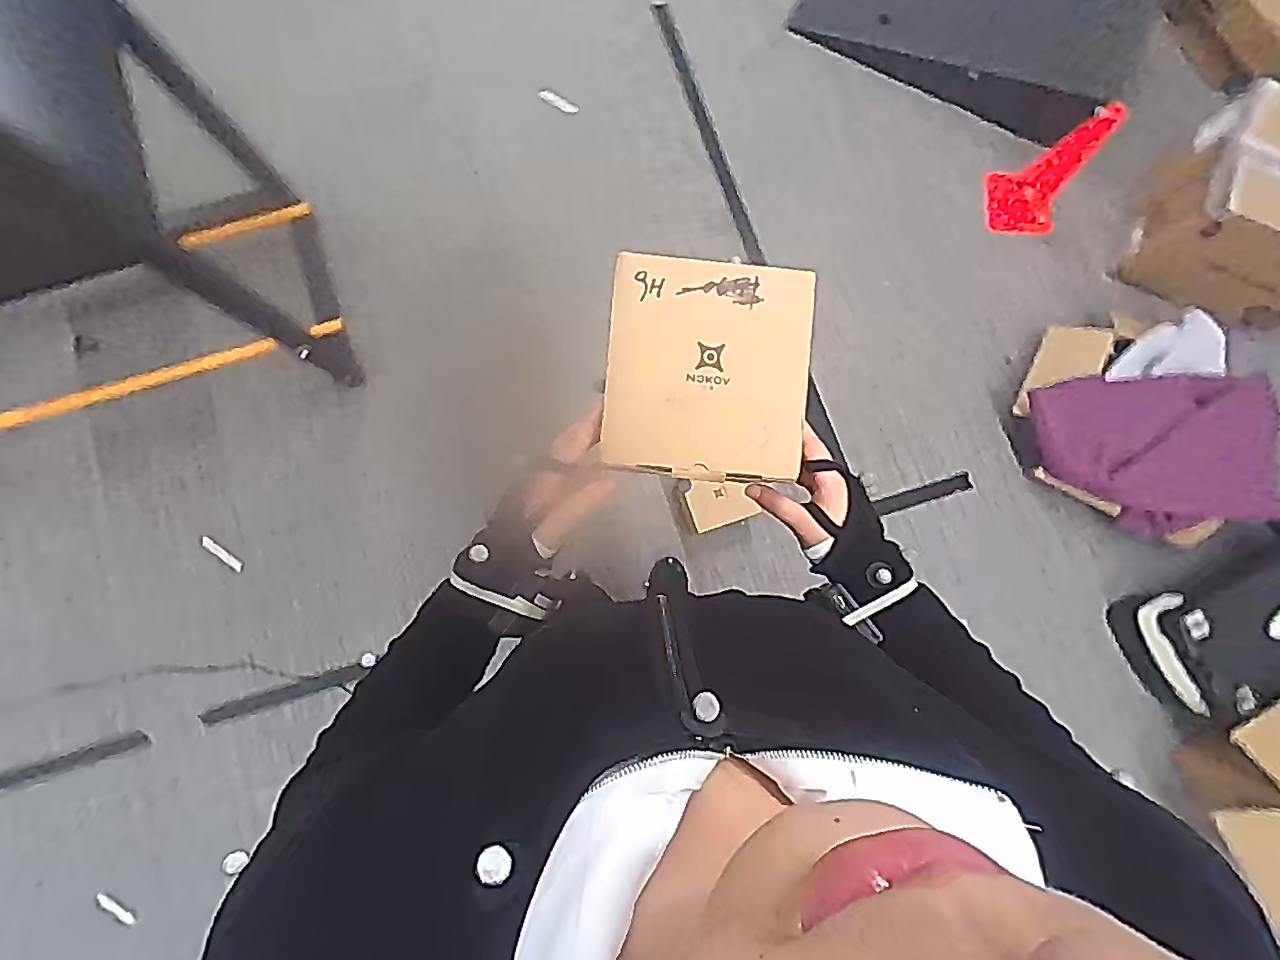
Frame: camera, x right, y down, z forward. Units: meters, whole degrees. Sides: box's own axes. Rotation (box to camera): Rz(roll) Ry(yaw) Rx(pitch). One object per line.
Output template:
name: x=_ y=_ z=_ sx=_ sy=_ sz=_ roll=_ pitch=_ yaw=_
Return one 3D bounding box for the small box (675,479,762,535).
small box: x=0.202 y=0.042 z=1.455 sx=0.179 sy=0.176 sz=0.168 roll=-19 pitch=82 yaw=-3

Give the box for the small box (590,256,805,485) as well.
small box: x=0.045 y=-0.090 z=0.517 sx=0.168 sy=0.176 sz=0.179 roll=4 pitch=91 yaw=-3
